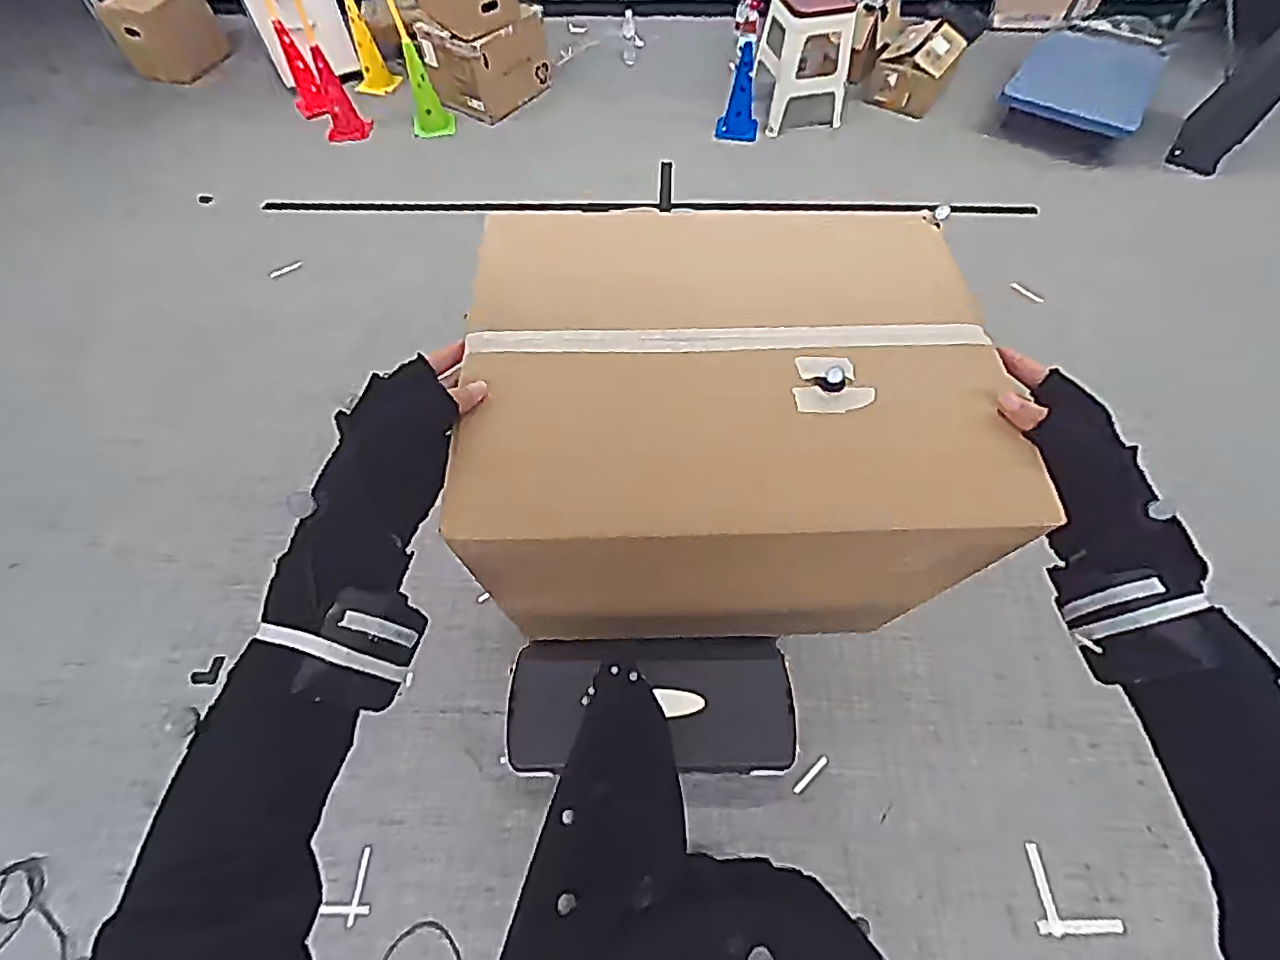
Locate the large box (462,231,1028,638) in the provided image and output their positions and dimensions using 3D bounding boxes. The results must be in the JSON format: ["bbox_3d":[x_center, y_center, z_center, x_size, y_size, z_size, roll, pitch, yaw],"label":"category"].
[{"bbox_3d":[0.064,-0.029,0.569,0.408,0.320,0.320,-1,62,-2],"label":"large box"}]
